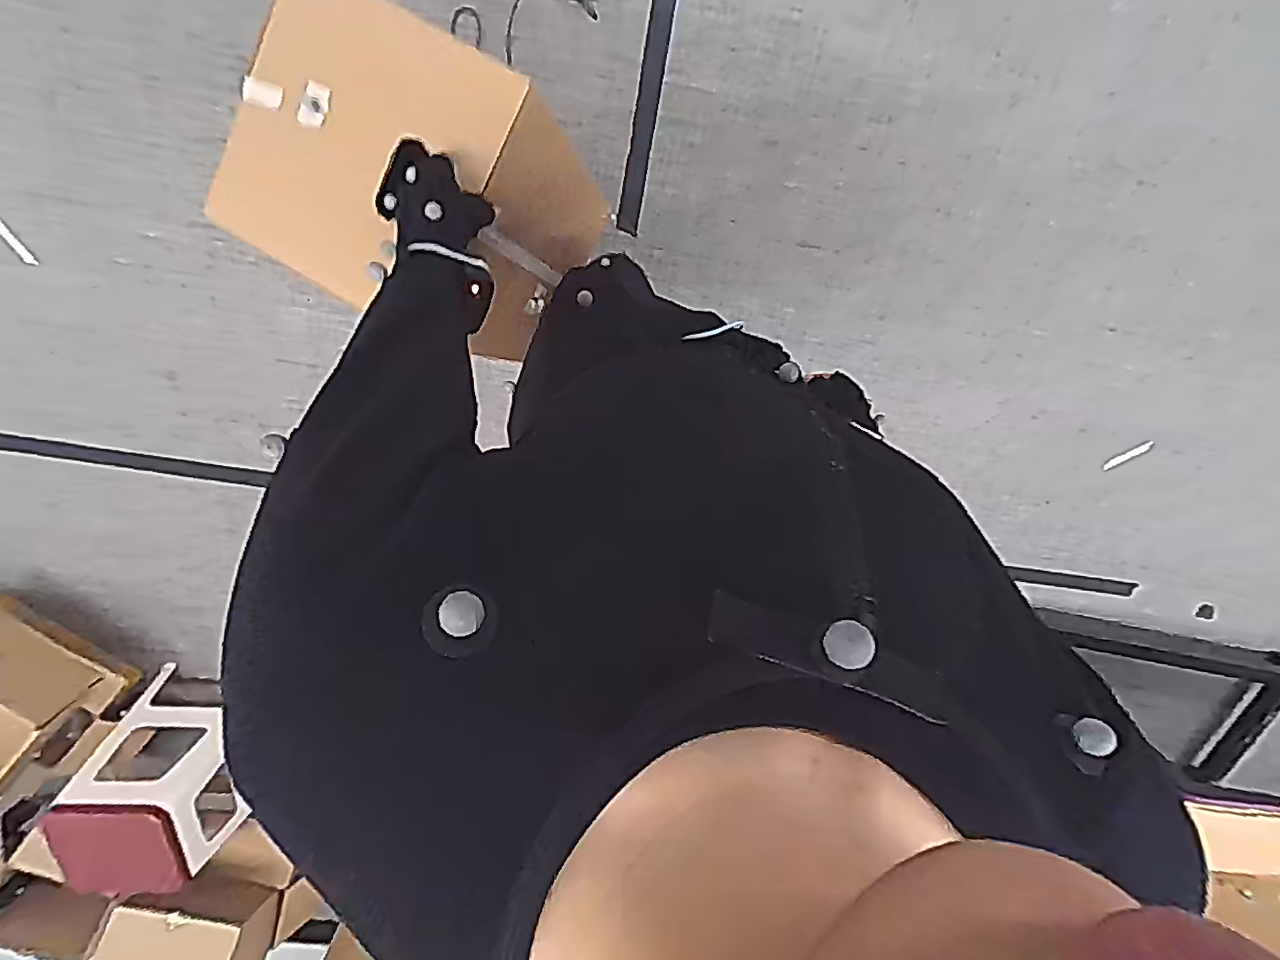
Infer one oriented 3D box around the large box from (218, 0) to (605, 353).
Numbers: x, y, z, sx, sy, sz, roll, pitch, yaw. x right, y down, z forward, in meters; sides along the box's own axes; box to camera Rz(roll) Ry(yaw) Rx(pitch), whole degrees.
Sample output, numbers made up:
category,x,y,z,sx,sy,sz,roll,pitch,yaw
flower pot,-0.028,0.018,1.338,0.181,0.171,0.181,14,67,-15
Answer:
category,x,y,z,sx,sy,sz,roll,pitch,yaw
large box,-0.294,-0.412,0.811,0.320,0.408,0.320,33,102,2
